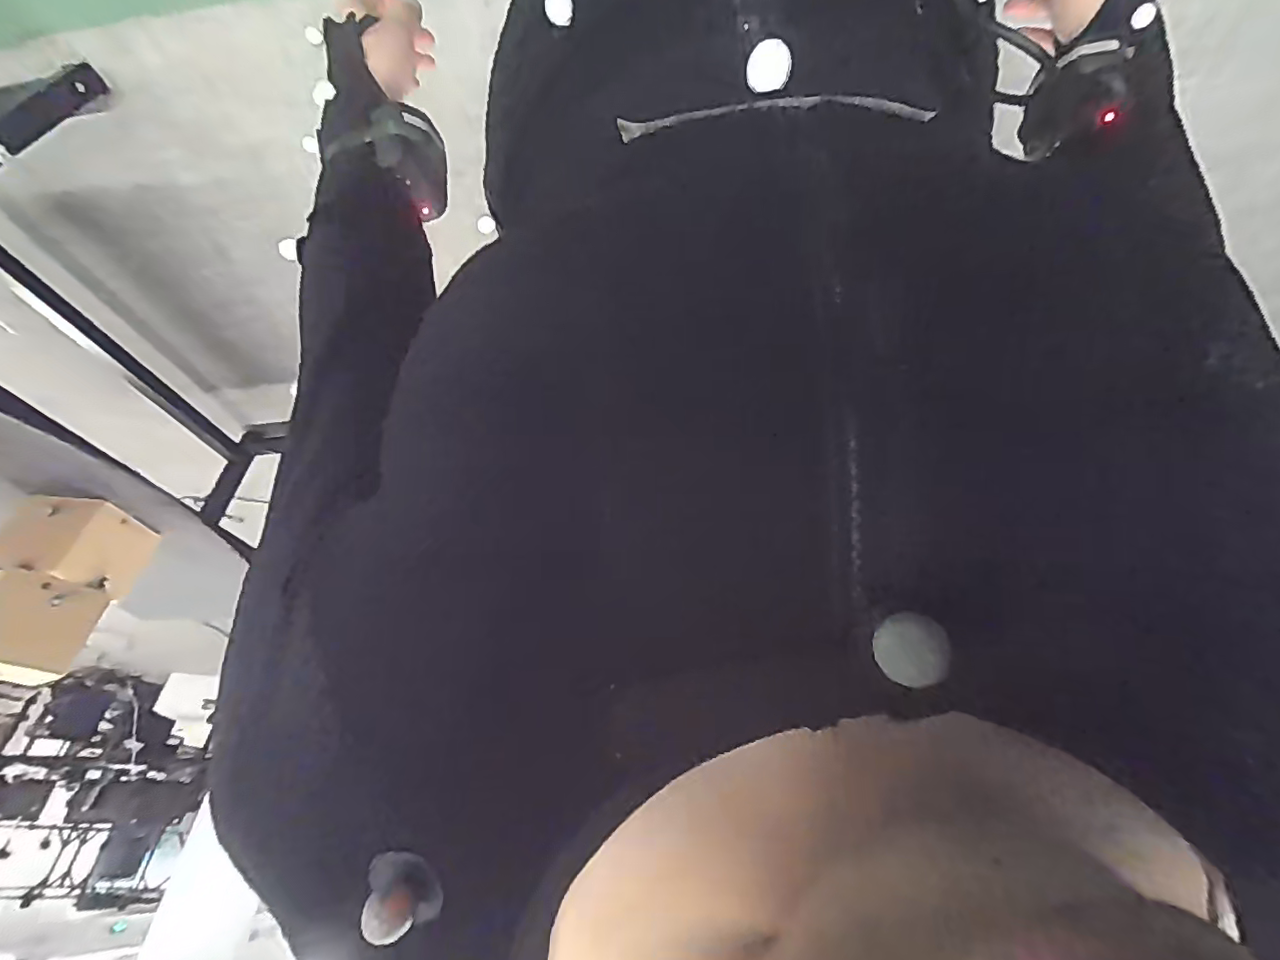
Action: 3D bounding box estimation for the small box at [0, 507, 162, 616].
[{"bbox_3d":[-1.183,0.170,1.138,0.179,0.176,0.168,3,145,1],"label":"small box"}]
